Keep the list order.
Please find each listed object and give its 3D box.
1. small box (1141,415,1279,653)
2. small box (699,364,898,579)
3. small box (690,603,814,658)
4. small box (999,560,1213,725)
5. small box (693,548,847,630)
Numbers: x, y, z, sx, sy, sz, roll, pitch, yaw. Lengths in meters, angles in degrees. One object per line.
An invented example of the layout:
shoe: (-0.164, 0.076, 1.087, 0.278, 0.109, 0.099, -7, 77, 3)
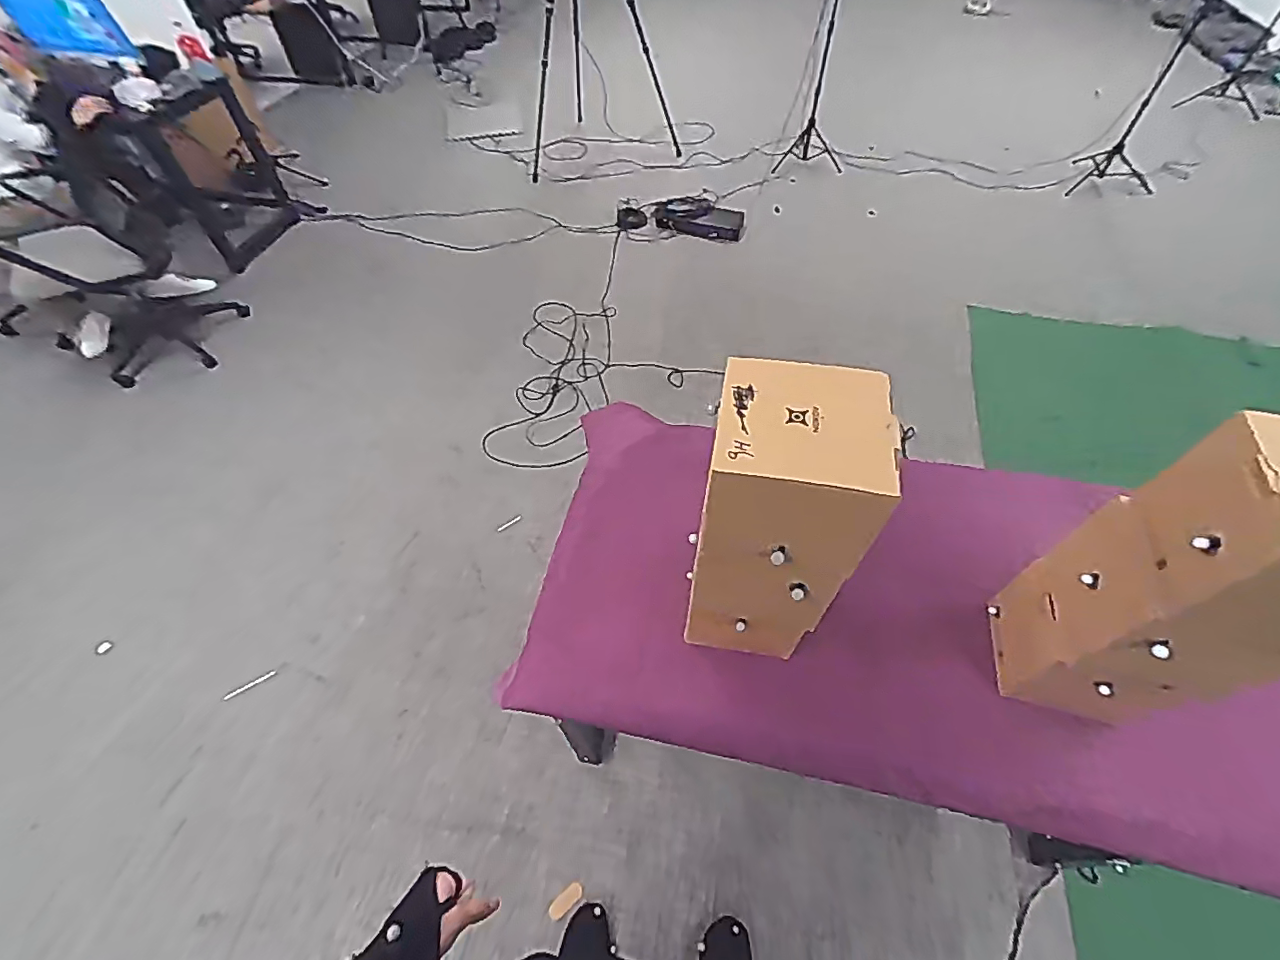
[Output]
small box: (0.653, 0.063, 0.537, 0.179, 0.176, 0.168, 13, 55, 12)
small box: (0.168, -0.005, 0.613, 0.179, 0.176, 0.168, 9, 54, 8)
small box: (0.180, 0.178, 0.886, 0.179, 0.176, 0.168, 7, 54, 9)
small box: (0.668, 0.246, 0.809, 0.179, 0.176, 0.168, 11, 54, 11)
small box: (0.174, 0.091, 0.745, 0.179, 0.176, 0.168, 9, 53, 9)
